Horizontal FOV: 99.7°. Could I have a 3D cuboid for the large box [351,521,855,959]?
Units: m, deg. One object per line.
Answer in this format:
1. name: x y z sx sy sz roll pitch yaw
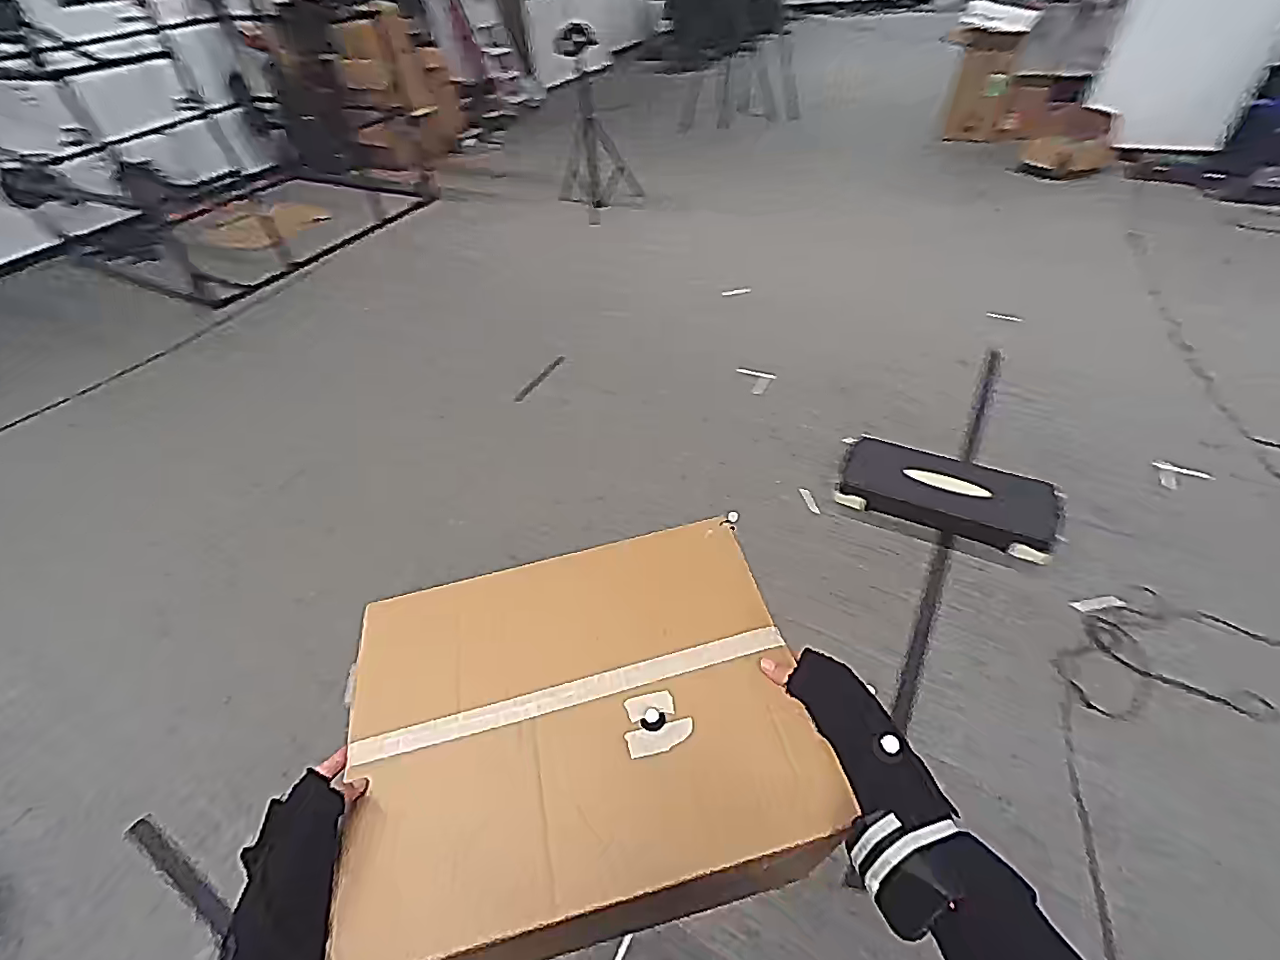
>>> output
1. large box: -0.039 0.299 0.617 0.408 0.320 0.320 -12 48 -4
